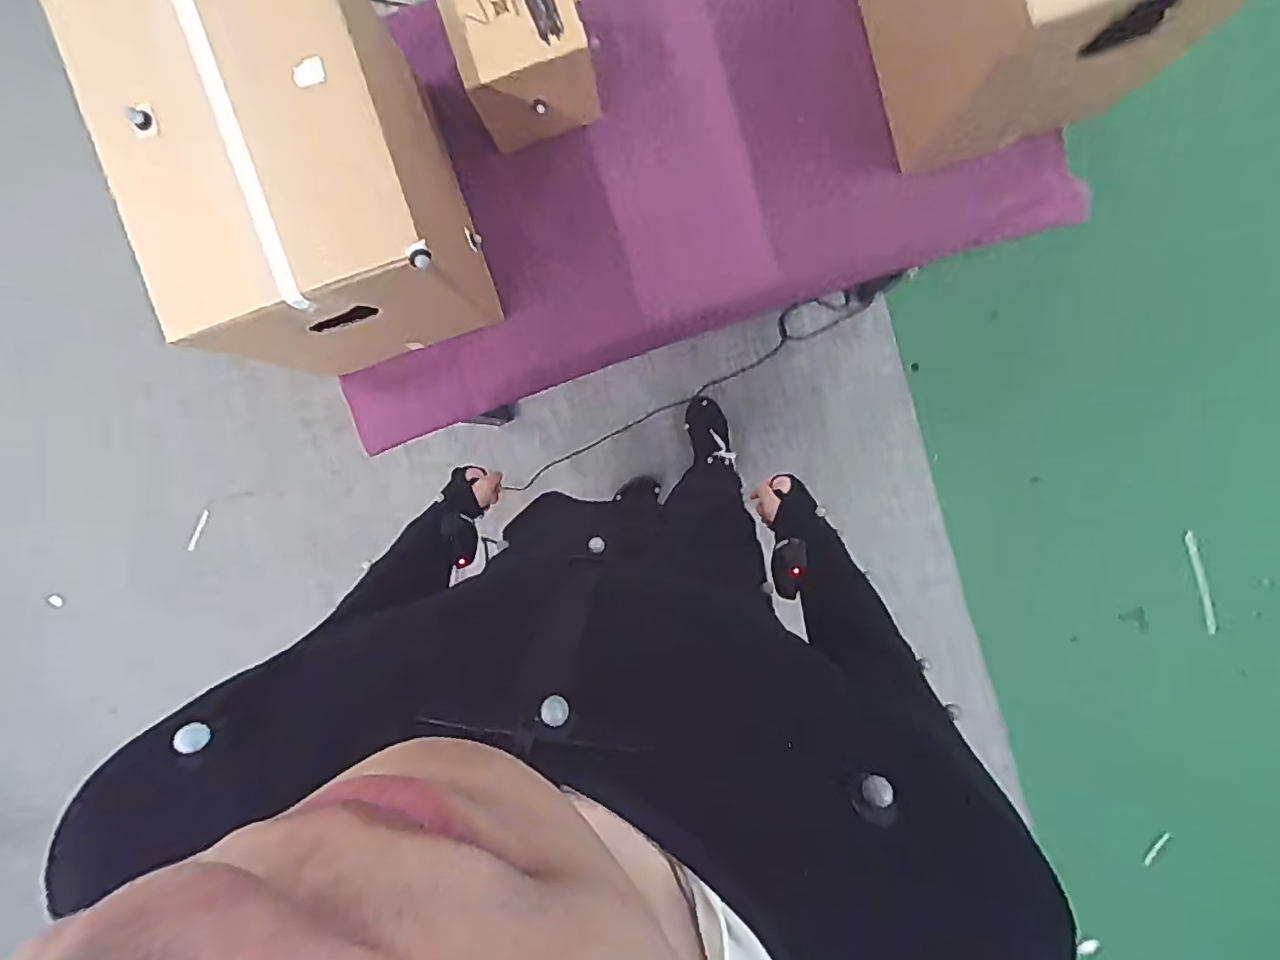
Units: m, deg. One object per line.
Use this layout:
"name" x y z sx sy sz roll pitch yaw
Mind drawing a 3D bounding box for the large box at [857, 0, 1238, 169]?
"large box" 0.489 -0.702 0.676 0.320 0.320 0.408 -16 94 5
